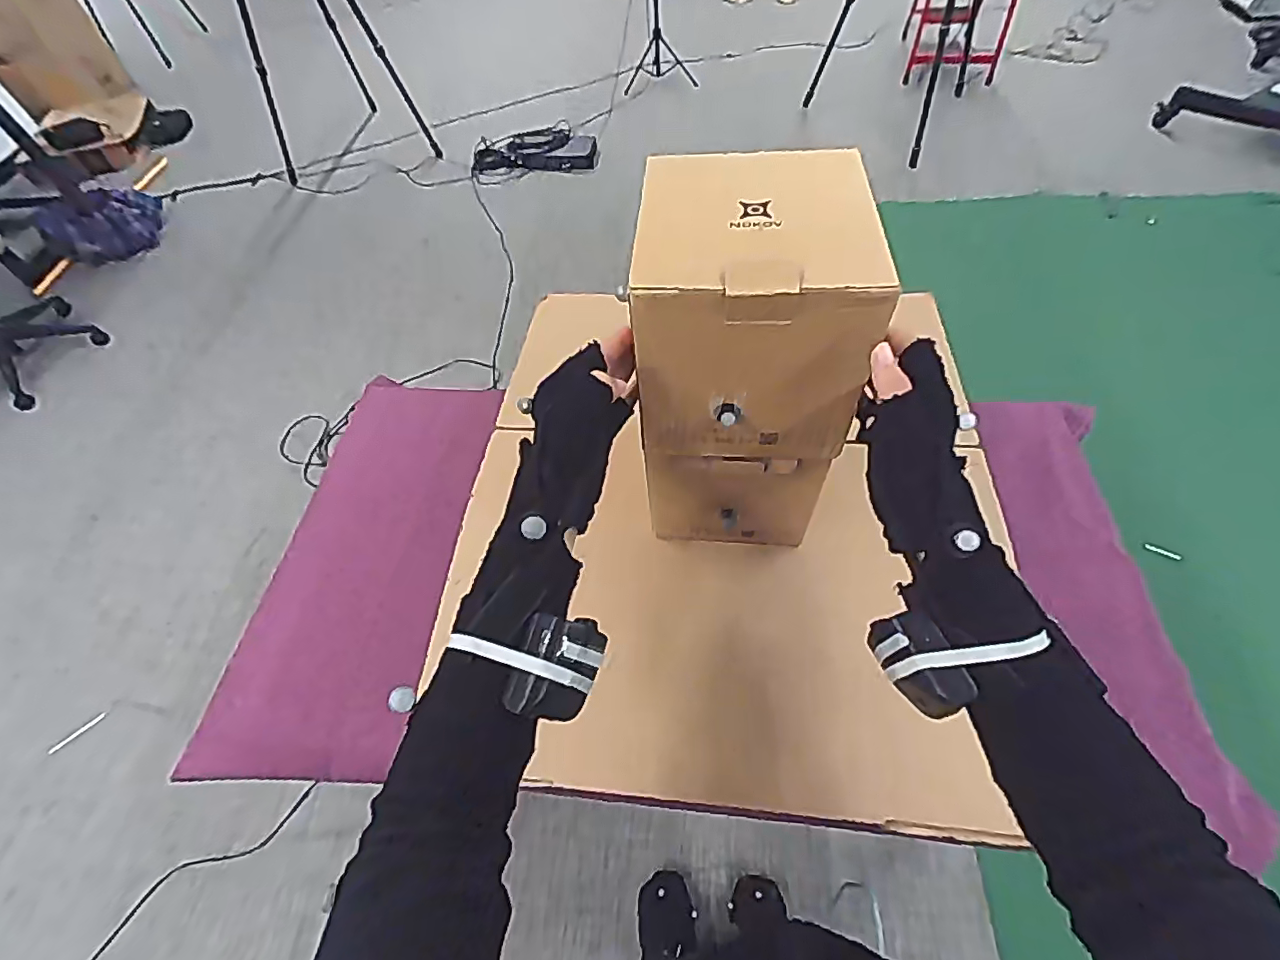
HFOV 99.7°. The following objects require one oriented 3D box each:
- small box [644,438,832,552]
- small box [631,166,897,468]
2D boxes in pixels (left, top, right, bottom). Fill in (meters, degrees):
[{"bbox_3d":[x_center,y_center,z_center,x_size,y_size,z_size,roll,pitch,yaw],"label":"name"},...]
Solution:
[{"bbox_3d":[0.099,-0.042,0.583,0.168,0.176,0.179,3,55,8],"label":"small box"},{"bbox_3d":[0.086,-0.130,0.446,0.168,0.176,0.179,1,55,6],"label":"small box"}]
